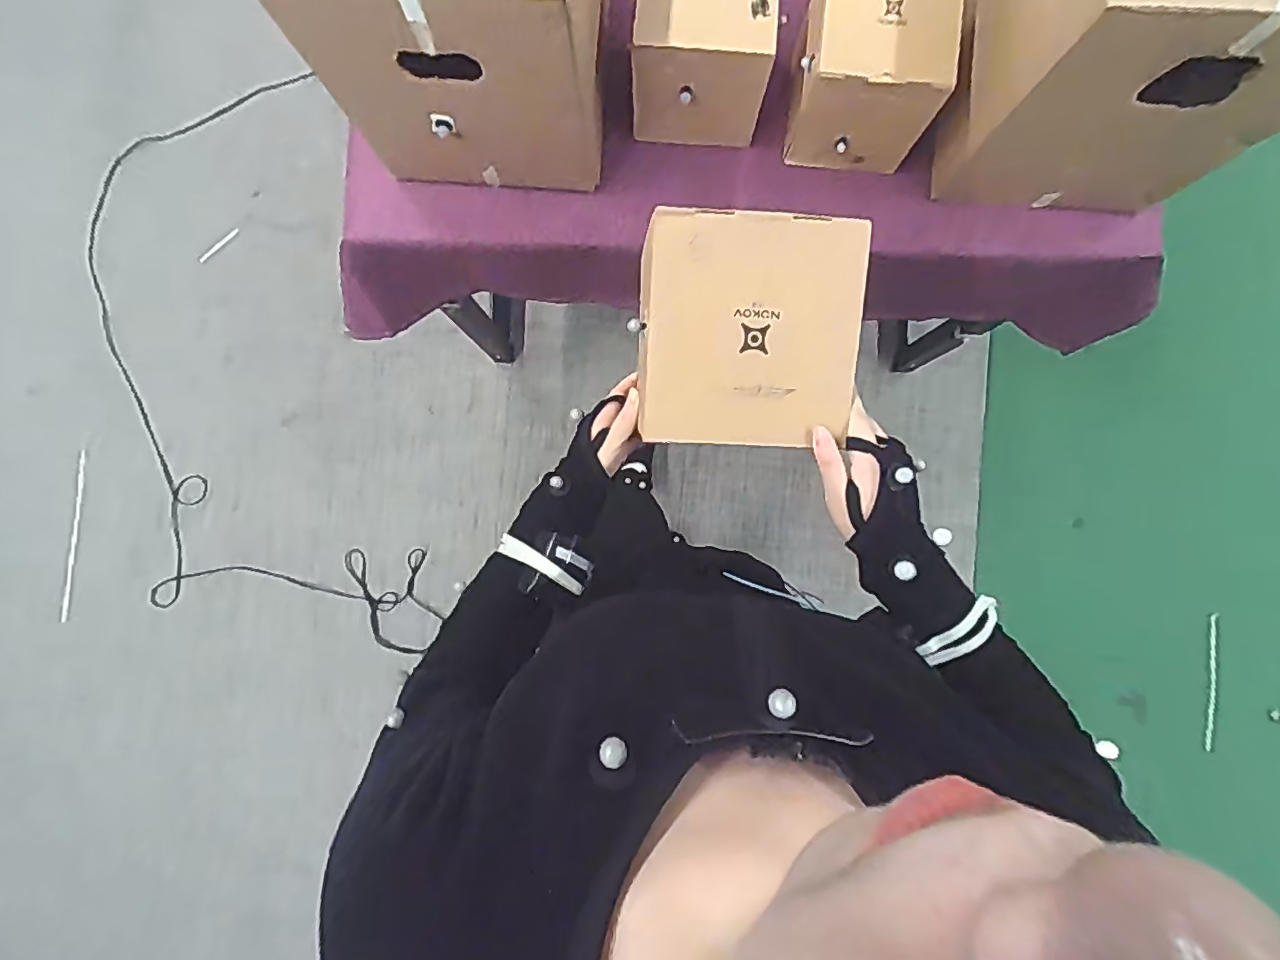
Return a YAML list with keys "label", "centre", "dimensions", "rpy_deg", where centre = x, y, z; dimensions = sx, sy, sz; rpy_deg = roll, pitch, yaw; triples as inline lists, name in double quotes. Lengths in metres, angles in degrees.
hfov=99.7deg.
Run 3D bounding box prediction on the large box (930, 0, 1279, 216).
- label: "large box"
  centre: [0.594, -0.609, 0.668]
  dimensions: [0.320, 0.320, 0.408]
  rpy_deg: [4, 88, 0]
